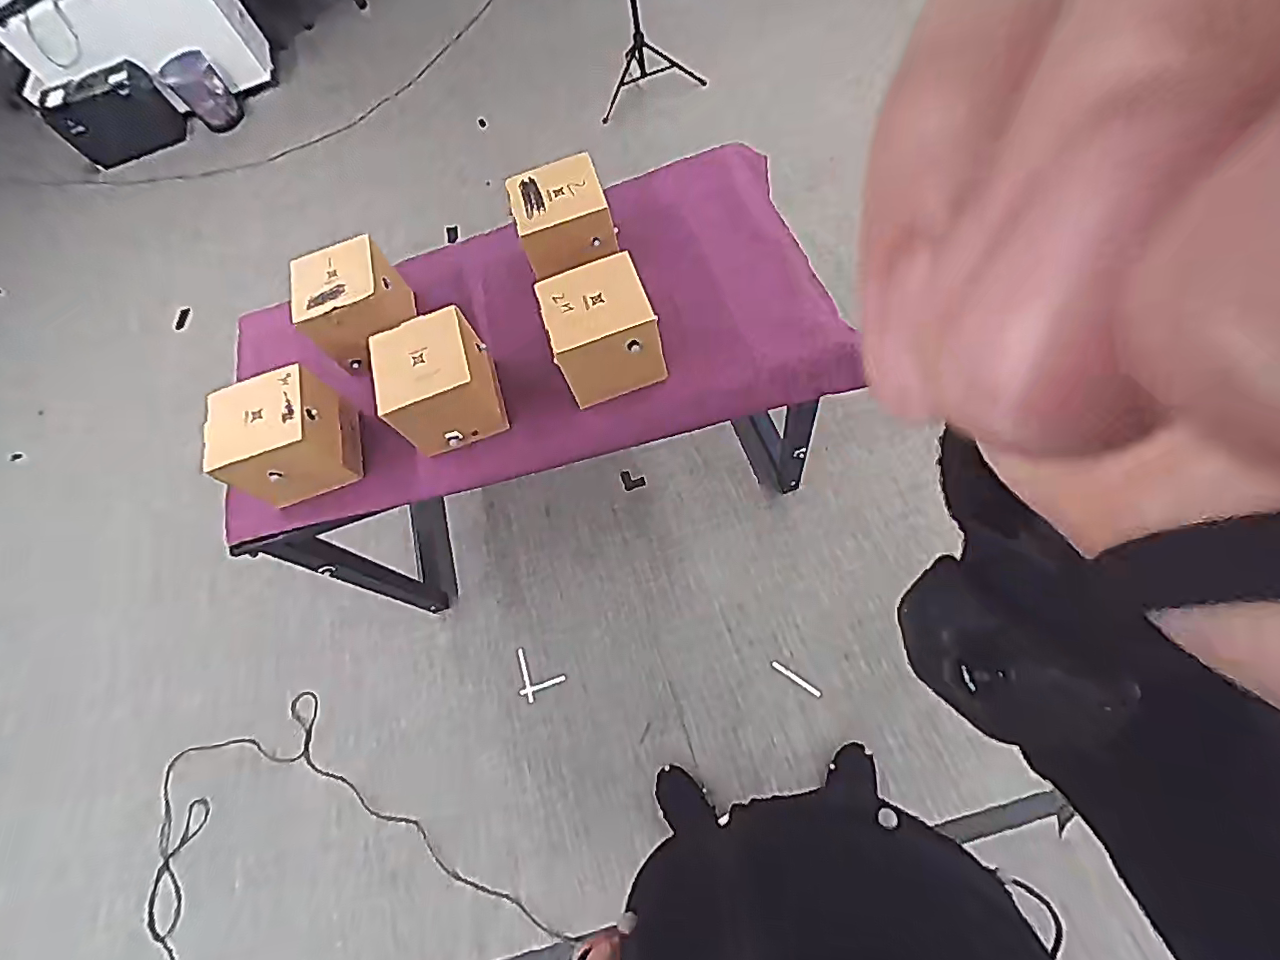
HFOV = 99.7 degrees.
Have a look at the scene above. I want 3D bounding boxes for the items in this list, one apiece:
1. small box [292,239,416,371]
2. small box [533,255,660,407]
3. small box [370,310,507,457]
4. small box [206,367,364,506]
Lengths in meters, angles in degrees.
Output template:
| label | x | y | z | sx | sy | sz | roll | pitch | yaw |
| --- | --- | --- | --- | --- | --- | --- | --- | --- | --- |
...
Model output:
| label | x | y | z | sx | sy | sz | roll | pitch | yaw |
| --- | --- | --- | --- | --- | --- | --- | --- | --- | --- |
| small box | -0.575 | -0.346 | 1.106 | 0.168 | 0.176 | 0.179 | -20 | 64 | 1 |
| small box | -0.069 | -0.260 | 0.972 | 0.179 | 0.176 | 0.168 | -20 | 64 | 2 |
| small box | -0.364 | -0.169 | 0.990 | 0.168 | 0.176 | 0.179 | -20 | 66 | 2 |
| small box | -0.643 | -0.071 | 0.994 | 0.179 | 0.176 | 0.168 | -19 | 65 | 2 |
